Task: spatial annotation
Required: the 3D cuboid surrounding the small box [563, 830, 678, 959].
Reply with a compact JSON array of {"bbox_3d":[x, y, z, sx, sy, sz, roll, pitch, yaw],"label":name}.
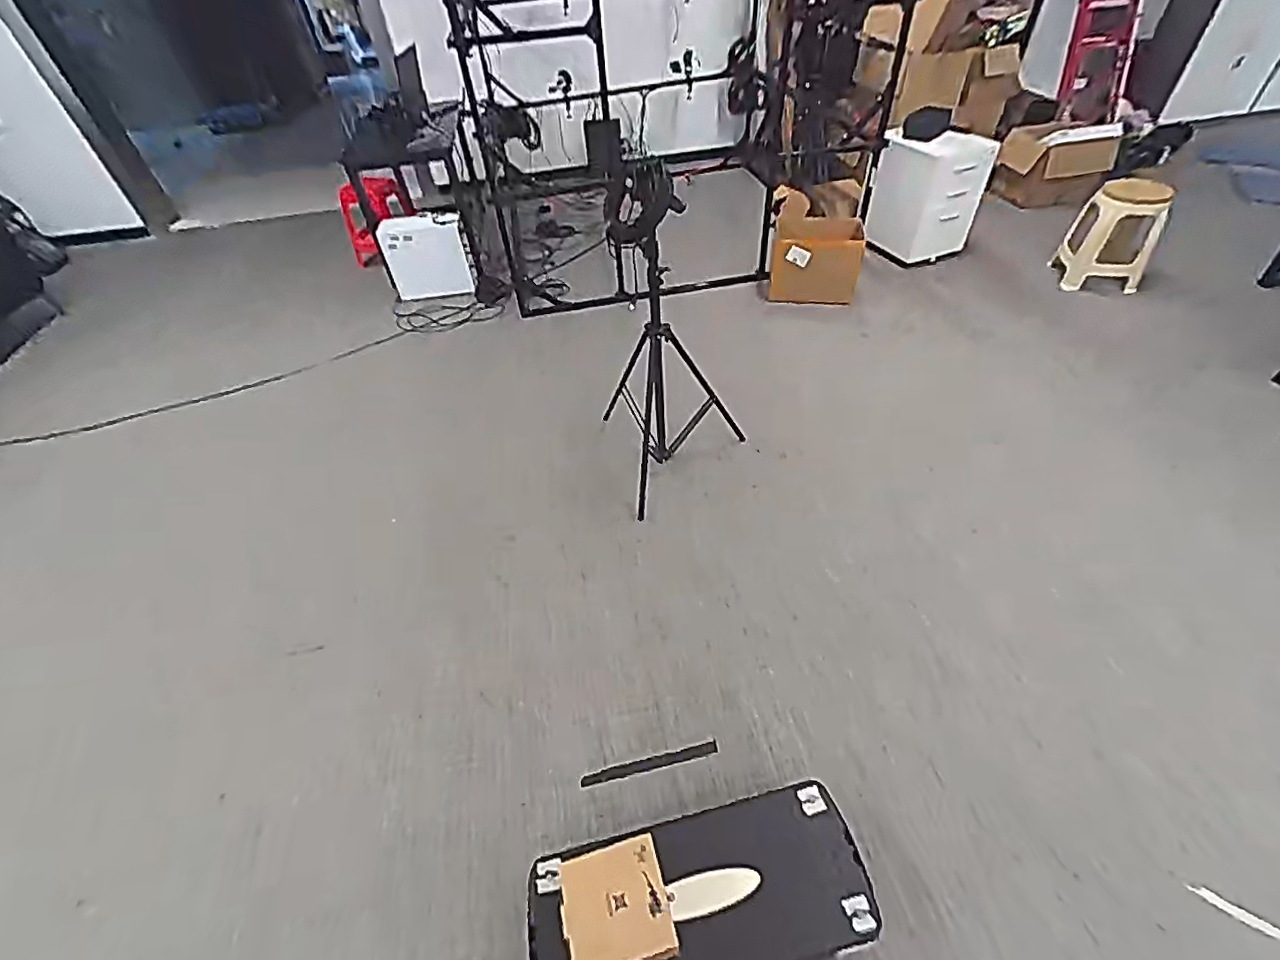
[{"bbox_3d":[-0.035,0.773,0.982,0.179,0.176,0.168,-14,46,-8],"label":"small box"}]
